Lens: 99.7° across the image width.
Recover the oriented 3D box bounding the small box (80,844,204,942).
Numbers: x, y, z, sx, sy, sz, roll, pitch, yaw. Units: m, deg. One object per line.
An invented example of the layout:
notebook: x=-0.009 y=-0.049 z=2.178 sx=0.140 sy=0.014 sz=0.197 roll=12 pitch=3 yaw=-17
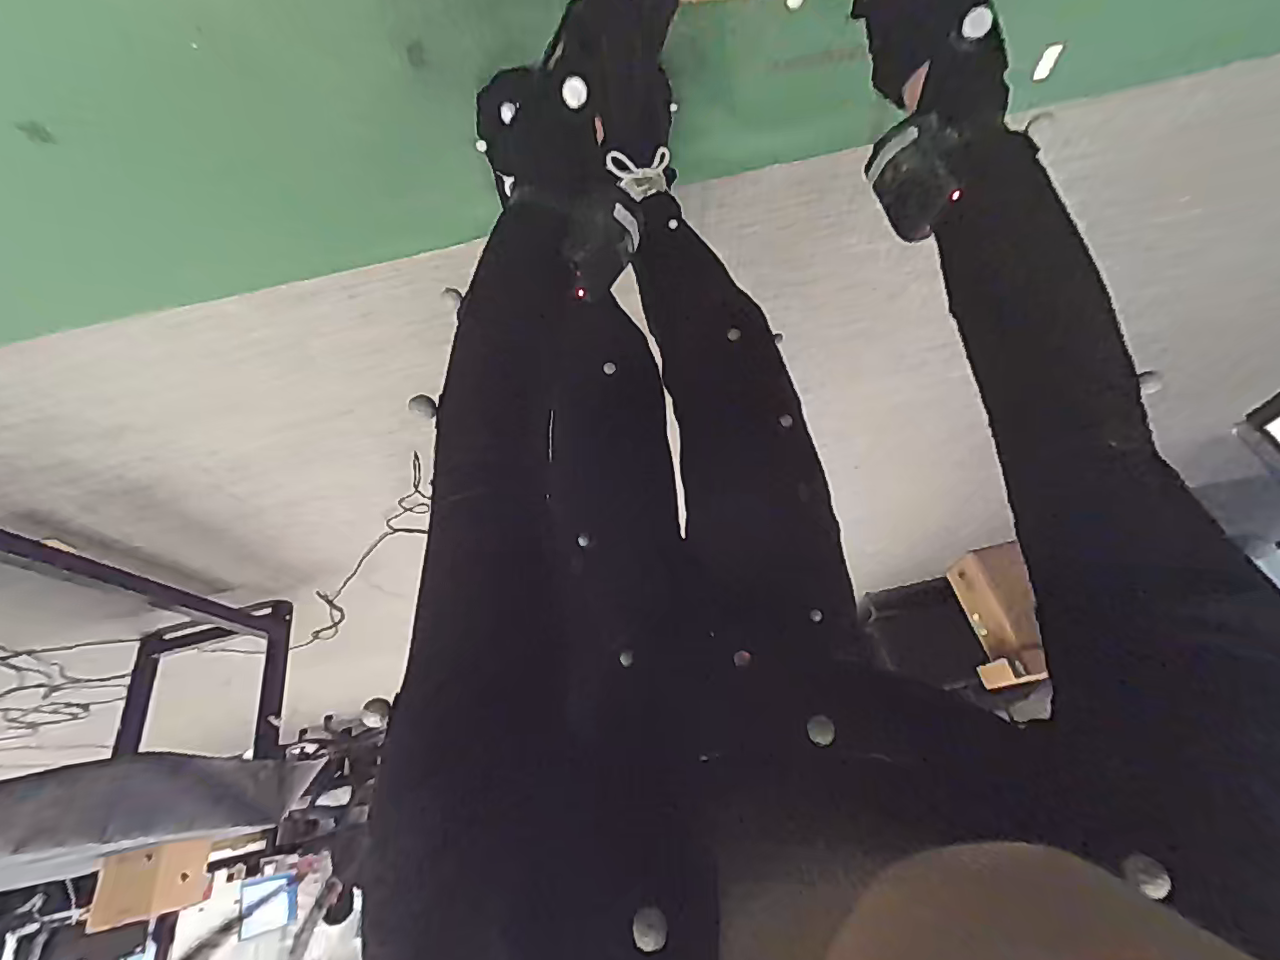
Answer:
small box: x=-1.348 y=1.119 z=1.479 sx=0.168 sy=0.176 sz=0.179 roll=-12 pitch=151 yaw=-2
